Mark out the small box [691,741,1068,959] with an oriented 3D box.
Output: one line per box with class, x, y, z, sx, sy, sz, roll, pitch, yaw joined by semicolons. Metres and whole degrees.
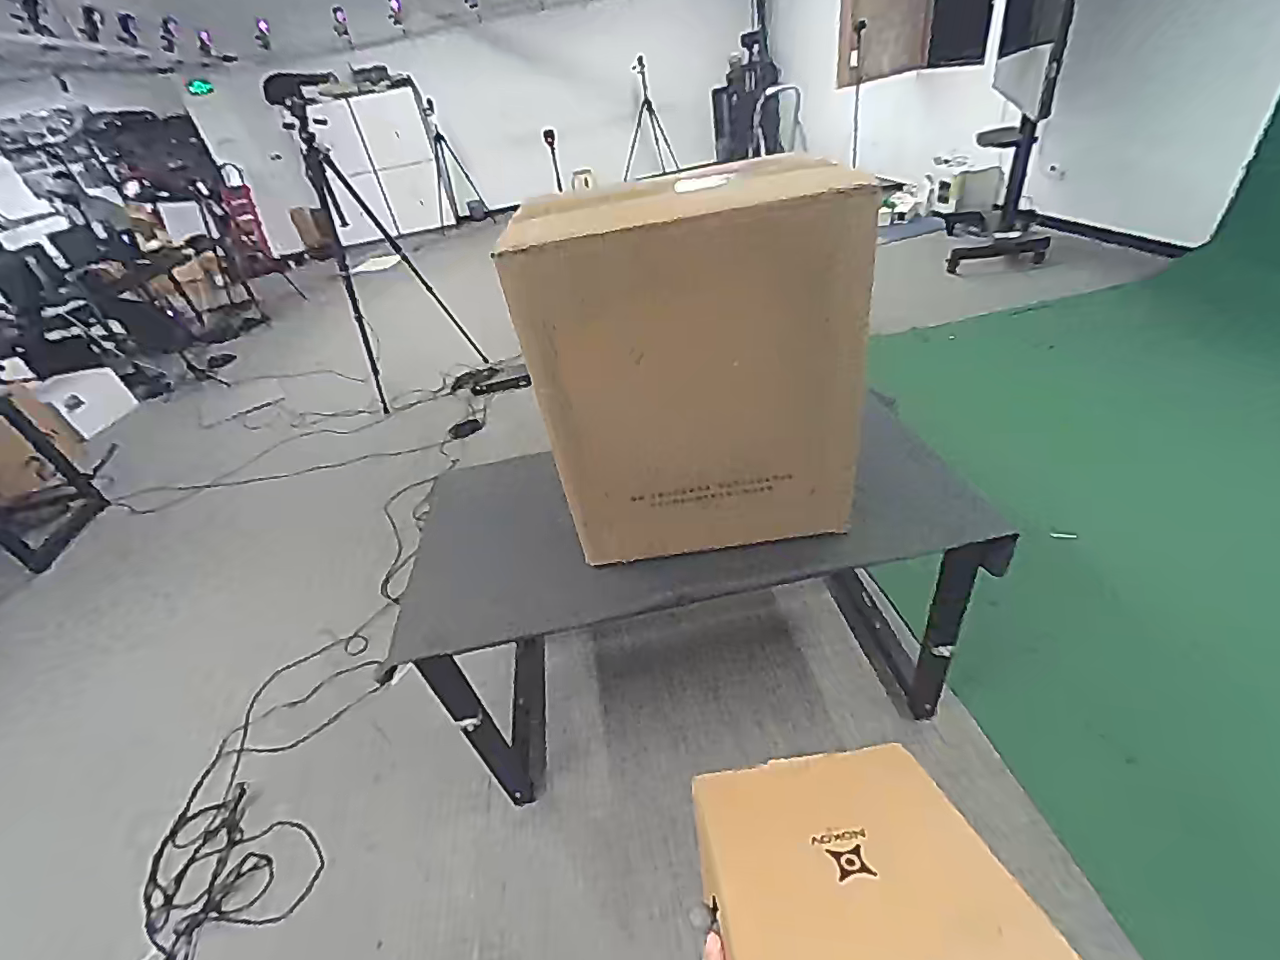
small box;0.135;0.310;0.350;0.168;0.176;0.179;-8;10;-3
